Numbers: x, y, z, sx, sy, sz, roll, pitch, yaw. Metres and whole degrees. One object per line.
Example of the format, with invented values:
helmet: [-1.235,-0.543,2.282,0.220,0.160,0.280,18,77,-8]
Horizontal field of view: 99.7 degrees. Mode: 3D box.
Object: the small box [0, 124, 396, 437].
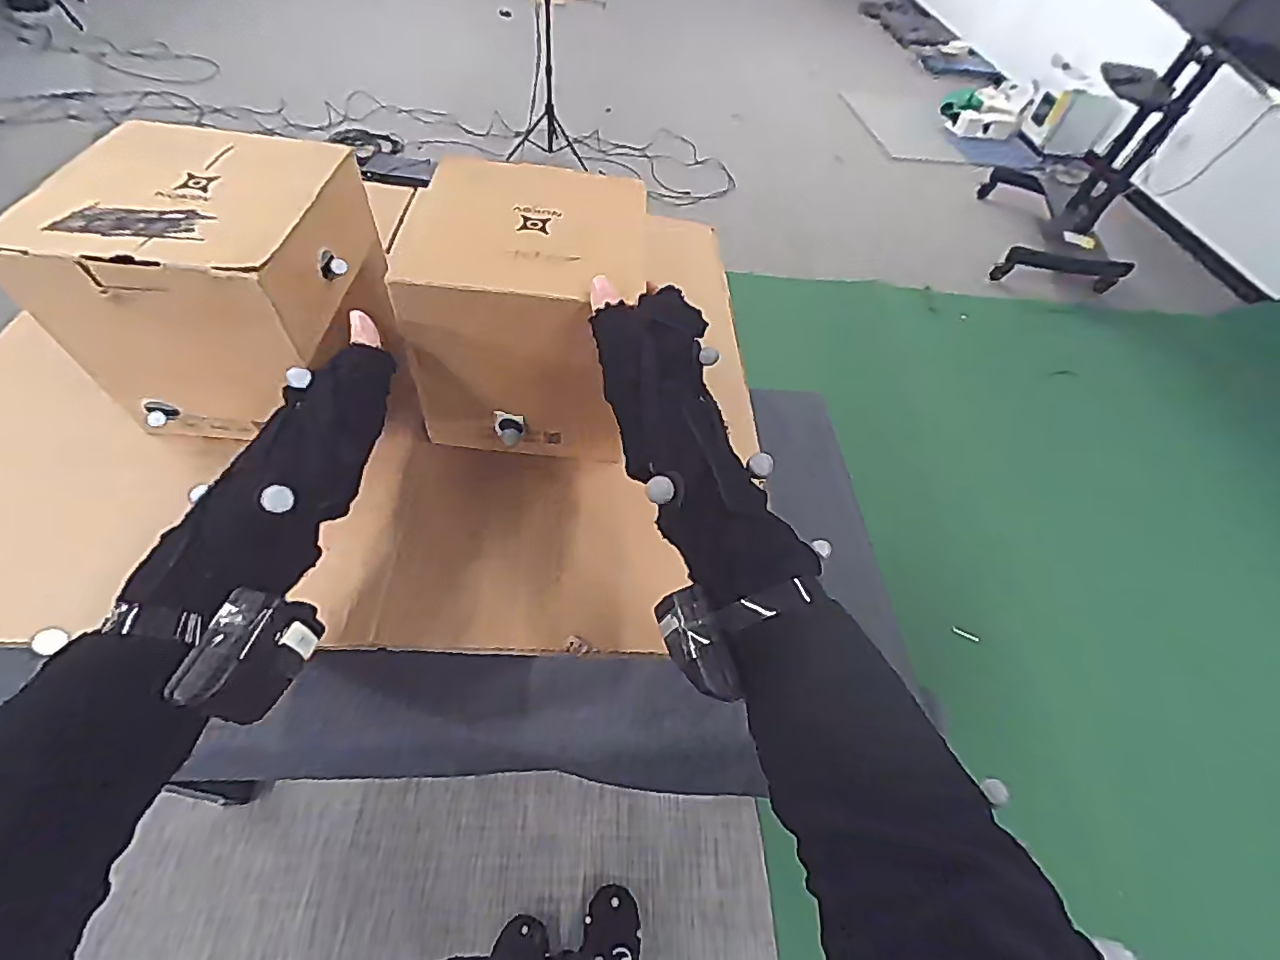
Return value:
small box: [-0.320,-0.154,0.440,0.168,0.176,0.179,4,54,-5]
